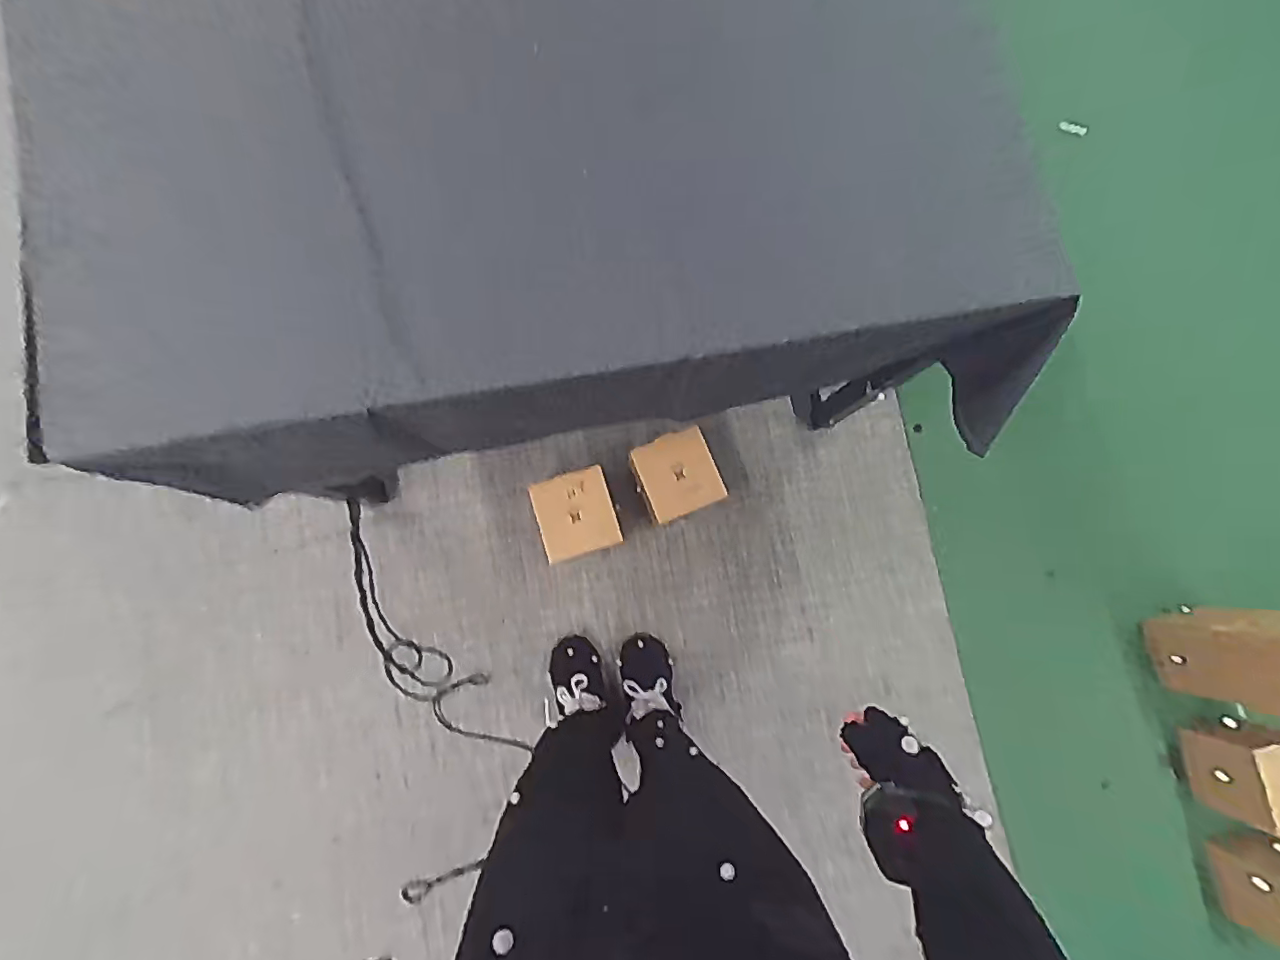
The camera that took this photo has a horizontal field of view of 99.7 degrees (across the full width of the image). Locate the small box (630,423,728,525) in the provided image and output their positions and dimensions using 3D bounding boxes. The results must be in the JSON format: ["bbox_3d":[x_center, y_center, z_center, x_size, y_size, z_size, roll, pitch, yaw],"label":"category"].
[{"bbox_3d":[0.081,-0.006,1.249,0.168,0.176,0.179,-22,83,-5],"label":"small box"}]

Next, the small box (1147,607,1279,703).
[{"bbox_3d":[1.330,0.395,1.246,0.179,0.176,0.168,-11,83,-3],"label":"small box"}]

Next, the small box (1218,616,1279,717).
[{"bbox_3d":[1.337,0.377,1.084,0.168,0.176,0.179,-12,83,-4],"label":"small box"}]
